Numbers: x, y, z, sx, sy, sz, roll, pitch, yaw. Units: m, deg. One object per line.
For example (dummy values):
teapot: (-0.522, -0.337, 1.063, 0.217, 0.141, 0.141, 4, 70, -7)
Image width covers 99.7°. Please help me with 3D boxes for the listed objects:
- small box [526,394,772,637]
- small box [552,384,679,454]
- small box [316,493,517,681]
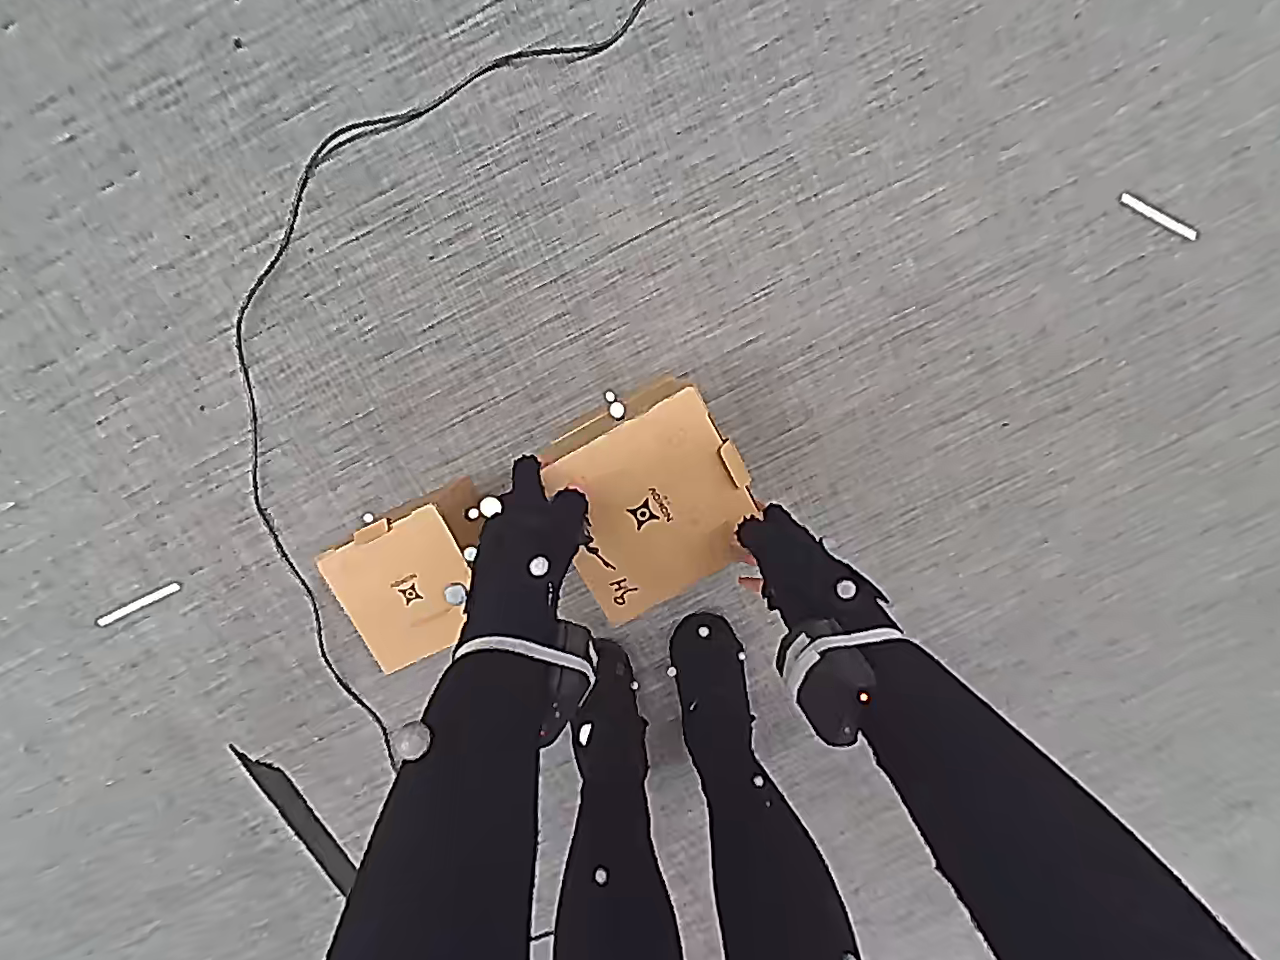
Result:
small box: (0.004, 0.021, 0.563, 0.179, 0.176, 0.168, -30, 103, 2)
small box: (-0.001, -0.015, 0.726, 0.168, 0.176, 0.179, -28, 102, 2)
small box: (-0.287, 0.130, 0.739, 0.168, 0.176, 0.179, -24, 103, 2)
